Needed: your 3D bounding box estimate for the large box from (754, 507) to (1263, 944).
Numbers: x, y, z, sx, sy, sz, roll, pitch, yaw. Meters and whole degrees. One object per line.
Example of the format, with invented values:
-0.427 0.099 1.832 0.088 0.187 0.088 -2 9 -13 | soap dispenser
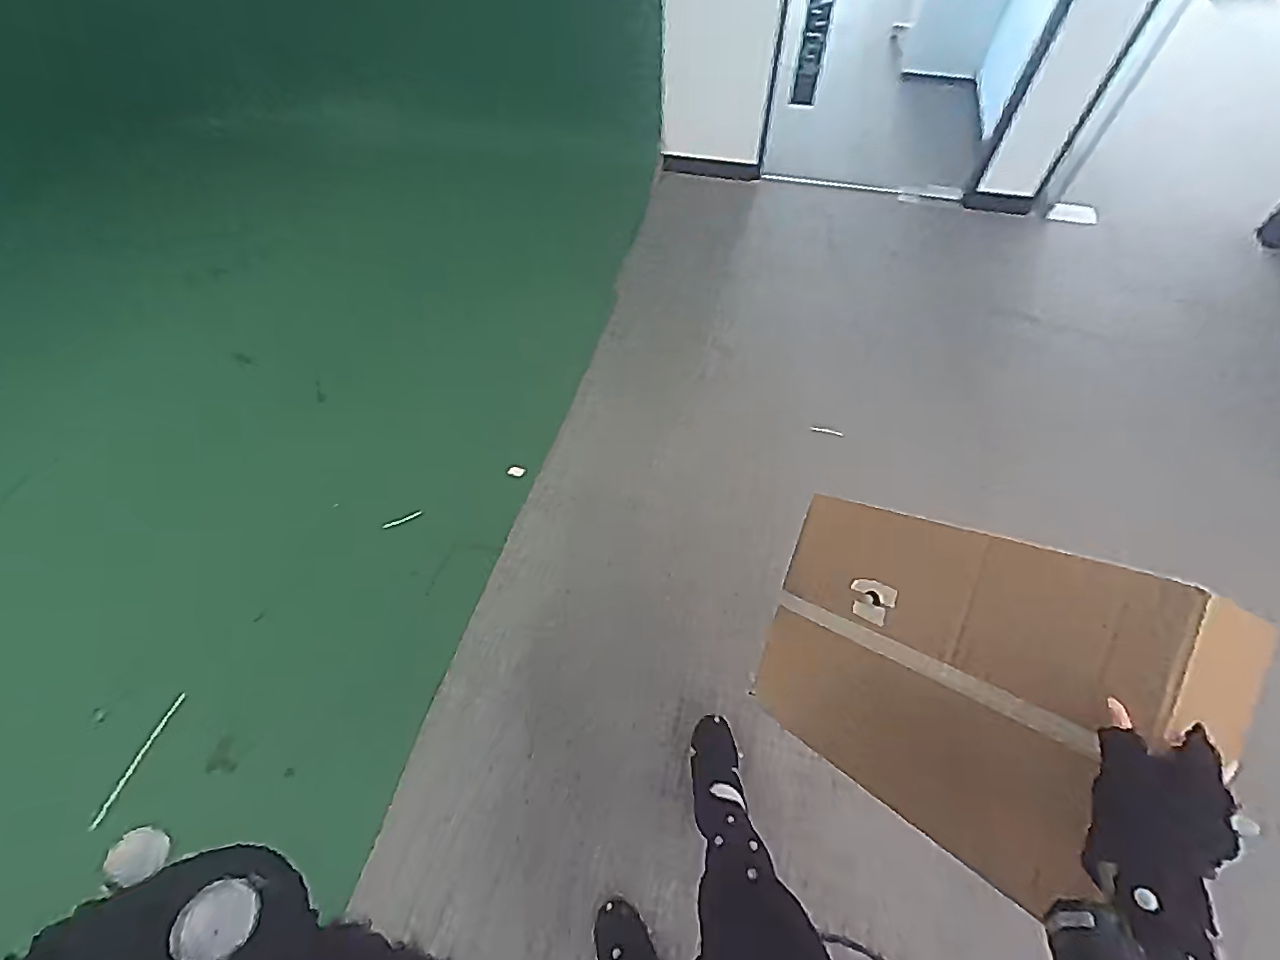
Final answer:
0.428 0.249 0.683 0.320 0.408 0.320 20 88 -31 | large box
